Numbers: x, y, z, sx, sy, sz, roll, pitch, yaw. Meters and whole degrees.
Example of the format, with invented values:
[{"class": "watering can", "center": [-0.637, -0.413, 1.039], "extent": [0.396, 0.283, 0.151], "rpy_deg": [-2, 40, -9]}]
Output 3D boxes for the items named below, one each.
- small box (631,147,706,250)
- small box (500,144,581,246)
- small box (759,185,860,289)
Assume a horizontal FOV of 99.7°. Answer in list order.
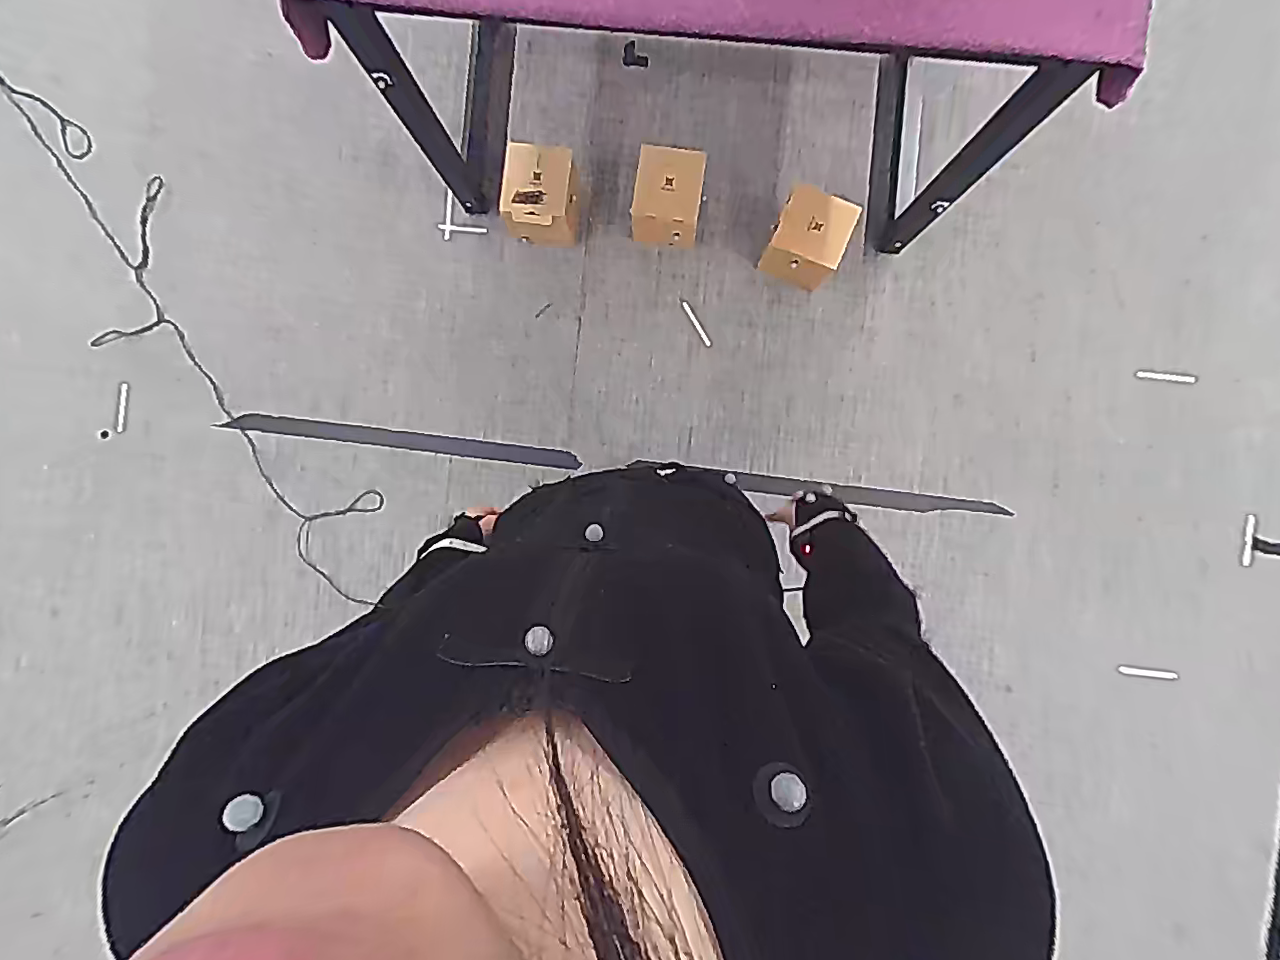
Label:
[{"class": "small box", "center": [0.071, -0.721, 1.404], "extent": [0.168, 0.176, 0.179], "rpy_deg": [8, 90, 0]}, {"class": "small box", "center": [-0.253, -0.733, 1.408], "extent": [0.168, 0.176, 0.179], "rpy_deg": [7, 90, 1]}, {"class": "small box", "center": [0.429, -0.616, 1.398], "extent": [0.179, 0.176, 0.168], "rpy_deg": [23, 92, 2]}]
